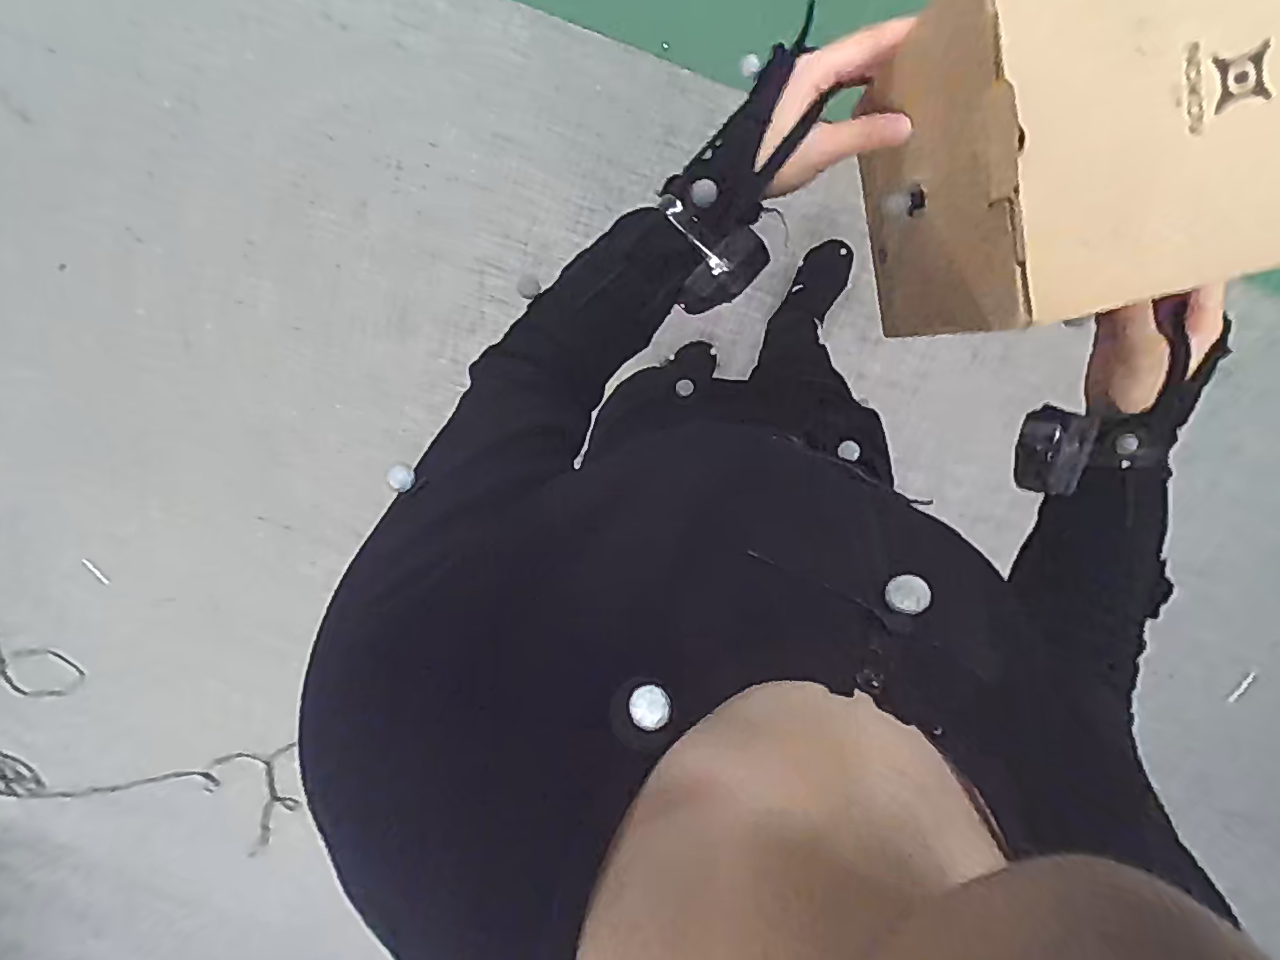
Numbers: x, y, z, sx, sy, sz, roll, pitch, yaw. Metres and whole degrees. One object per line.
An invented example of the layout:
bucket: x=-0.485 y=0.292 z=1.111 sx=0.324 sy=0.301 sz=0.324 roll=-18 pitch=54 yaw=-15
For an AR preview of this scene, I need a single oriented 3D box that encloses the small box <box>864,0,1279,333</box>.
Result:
small box: x=0.247 y=-0.188 z=0.315 sx=0.179 sy=0.176 sz=0.168 roll=-13 pitch=102 yaw=6
